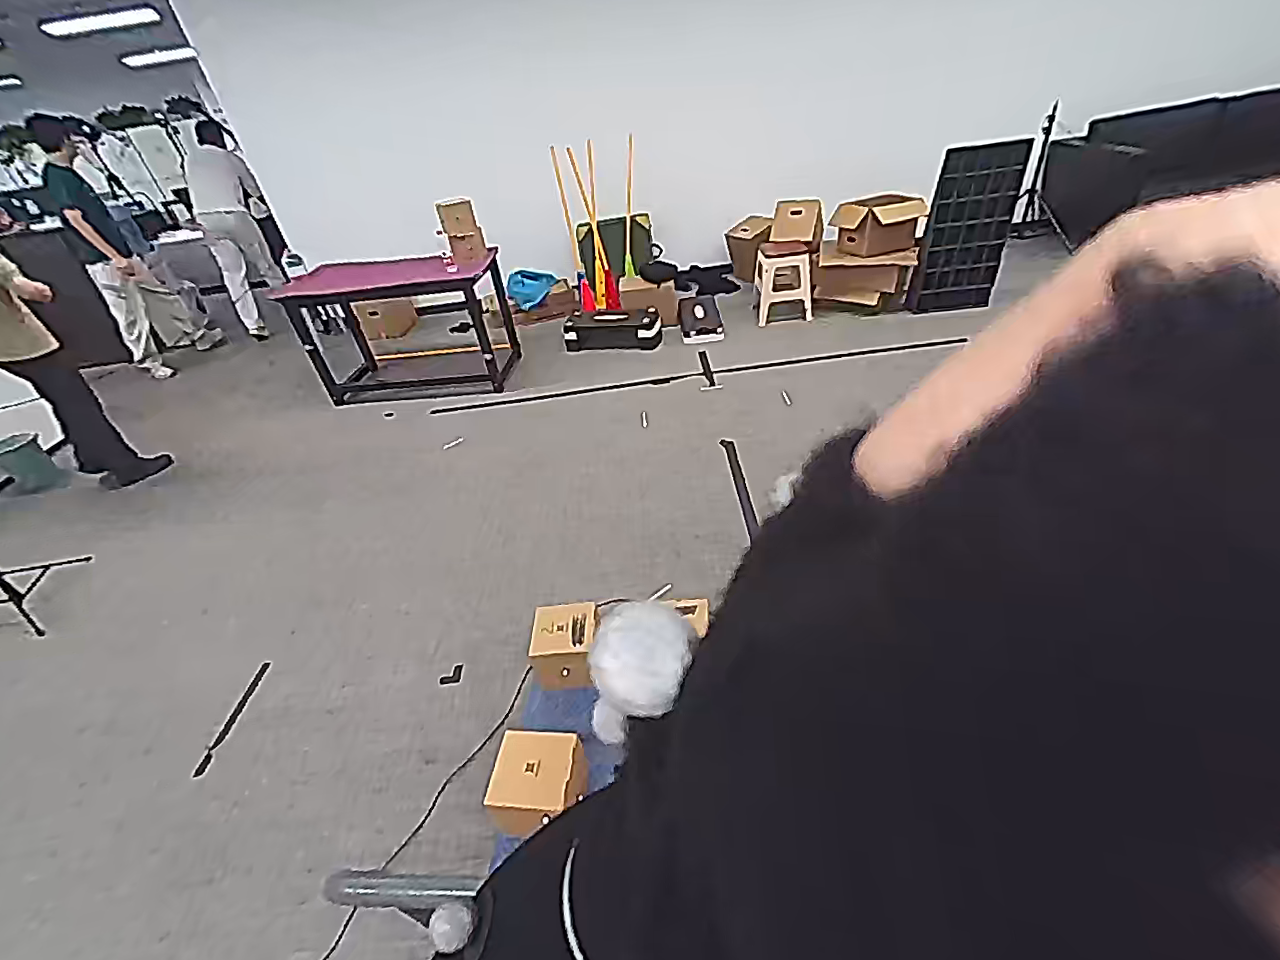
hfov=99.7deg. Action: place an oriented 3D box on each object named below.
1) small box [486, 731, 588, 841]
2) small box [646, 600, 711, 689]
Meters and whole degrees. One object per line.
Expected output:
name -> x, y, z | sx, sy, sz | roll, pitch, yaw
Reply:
small box -> -0.227, 0.703, 1.241 | 0.179, 0.176, 0.168 | -1, 37, 7
small box -> 0.111, 0.455, 1.503 | 0.168, 0.176, 0.179 | -3, 38, 7
